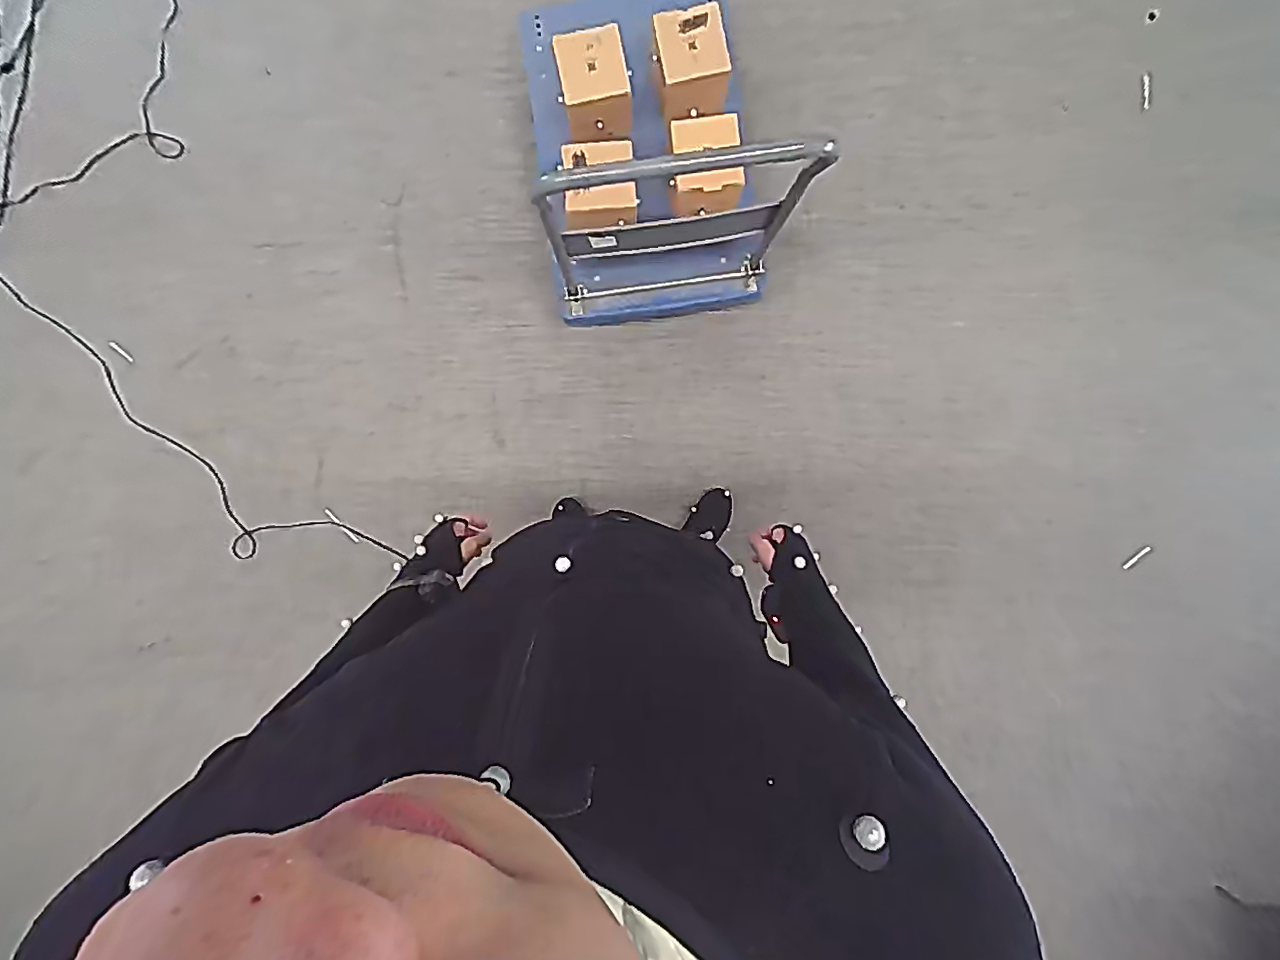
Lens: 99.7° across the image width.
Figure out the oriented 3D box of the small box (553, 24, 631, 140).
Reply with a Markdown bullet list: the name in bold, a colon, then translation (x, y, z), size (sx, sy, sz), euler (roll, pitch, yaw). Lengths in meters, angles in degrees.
- **small box**: translation (-0.118, -1.025, 1.414), size (0.168, 0.176, 0.179), euler (-12, 89, 0)

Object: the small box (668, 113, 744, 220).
- **small box**: translation (0.167, -0.809, 1.409), size (0.168, 0.176, 0.179), euler (-7, 90, 1)

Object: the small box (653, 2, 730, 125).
- **small box**: translation (0.128, -1.077, 1.409), size (0.168, 0.176, 0.179), euler (-11, 90, 2)
